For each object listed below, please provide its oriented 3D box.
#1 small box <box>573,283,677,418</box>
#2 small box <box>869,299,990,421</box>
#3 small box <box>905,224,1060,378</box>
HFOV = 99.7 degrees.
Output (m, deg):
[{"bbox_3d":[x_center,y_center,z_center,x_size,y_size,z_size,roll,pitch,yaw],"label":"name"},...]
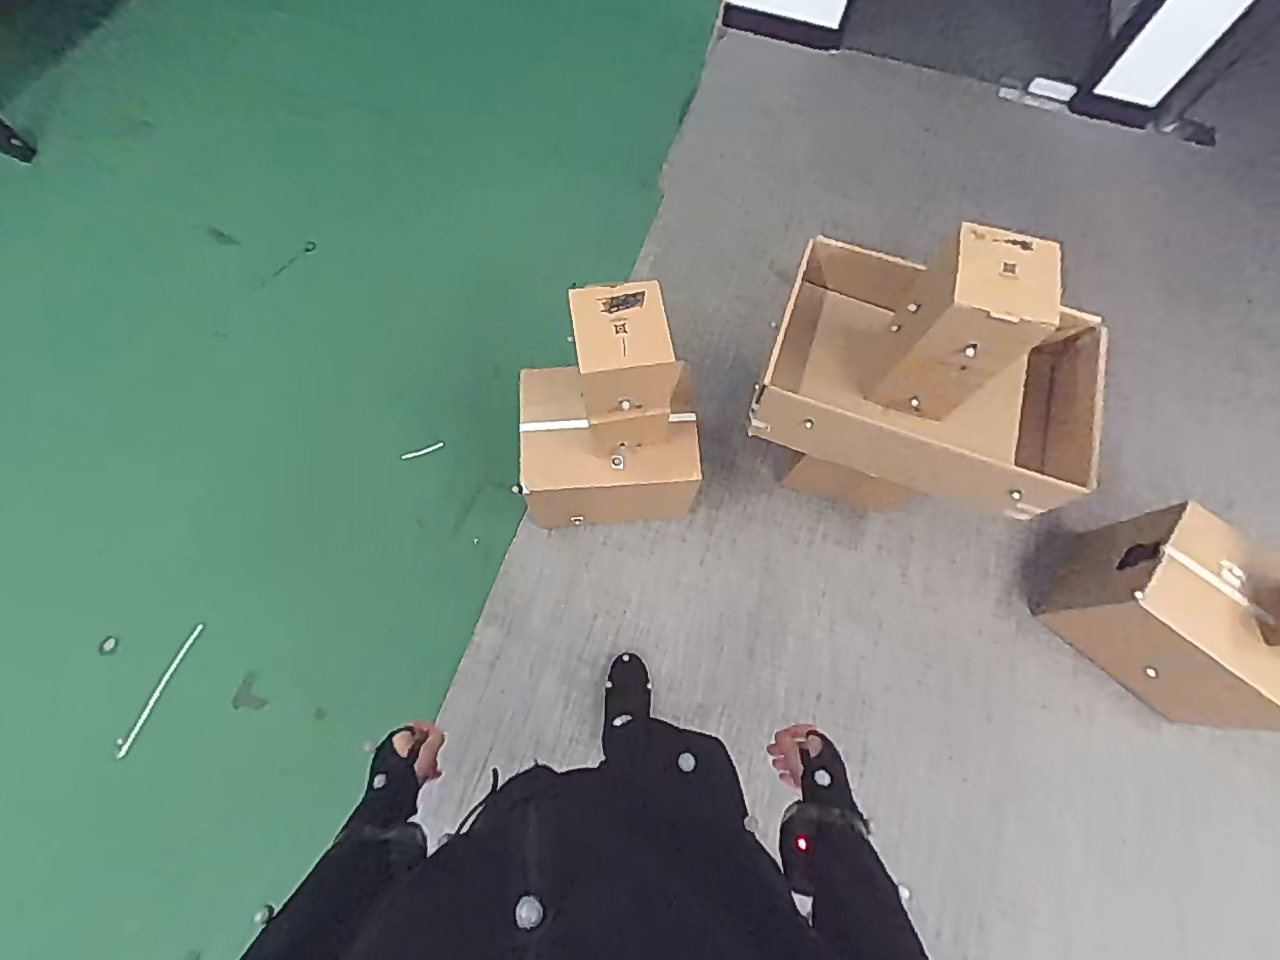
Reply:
[{"bbox_3d":[-0.032,-0.239,1.018,0.168,0.176,0.179,-8,70,-4],"label":"small box"},{"bbox_3d":[0.591,-0.250,1.105,0.168,0.176,0.179,18,71,5],"label":"small box"},{"bbox_3d":[0.591,-0.306,0.951,0.168,0.176,0.179,16,71,4],"label":"small box"}]
